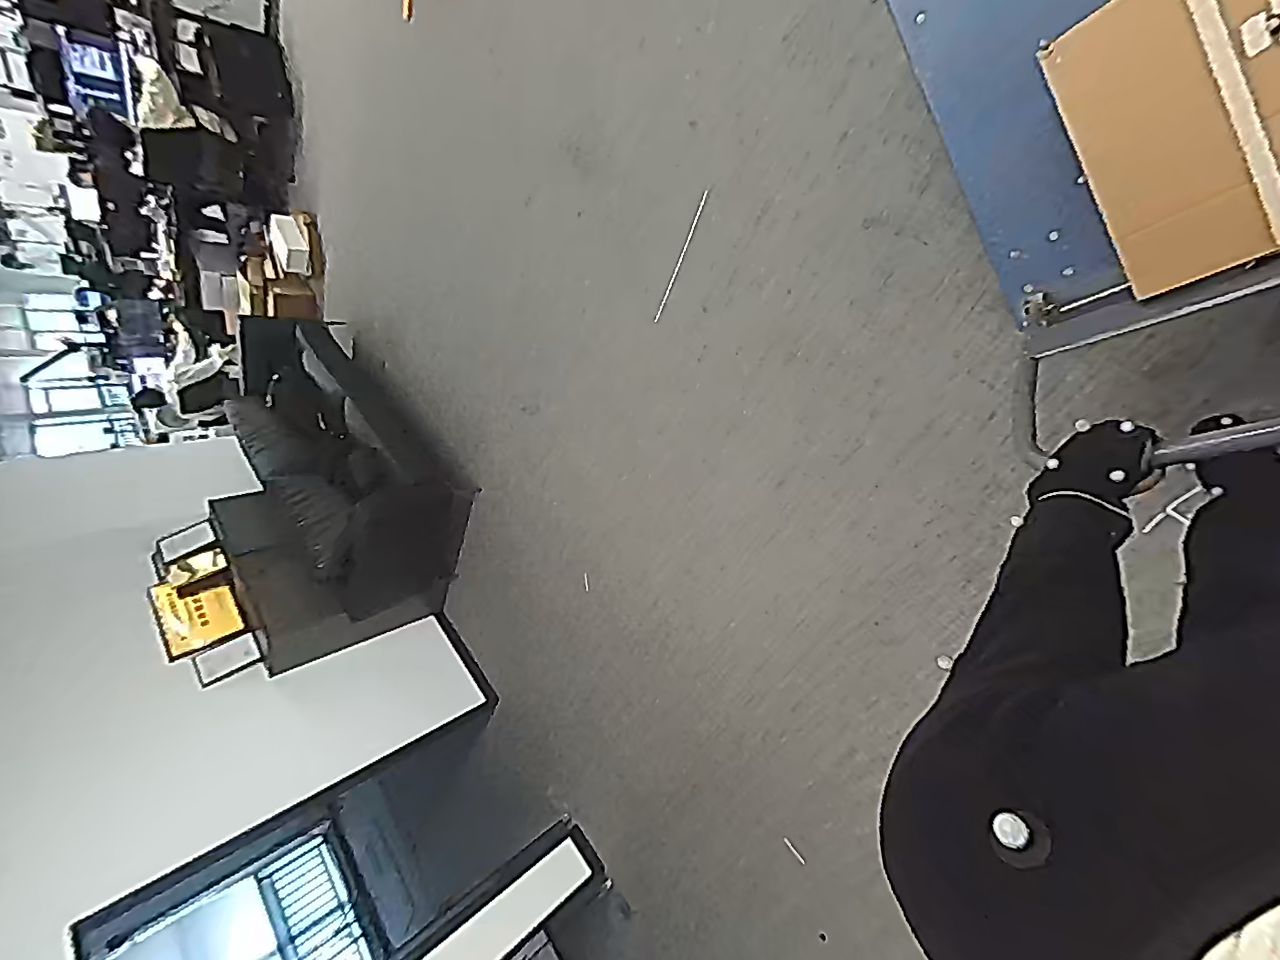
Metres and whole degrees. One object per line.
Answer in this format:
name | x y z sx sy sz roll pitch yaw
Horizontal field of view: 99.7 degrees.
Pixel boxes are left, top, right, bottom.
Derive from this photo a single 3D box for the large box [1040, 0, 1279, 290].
large box | 0.883 -0.572 0.825 0.320 0.320 0.408 -22 101 46
